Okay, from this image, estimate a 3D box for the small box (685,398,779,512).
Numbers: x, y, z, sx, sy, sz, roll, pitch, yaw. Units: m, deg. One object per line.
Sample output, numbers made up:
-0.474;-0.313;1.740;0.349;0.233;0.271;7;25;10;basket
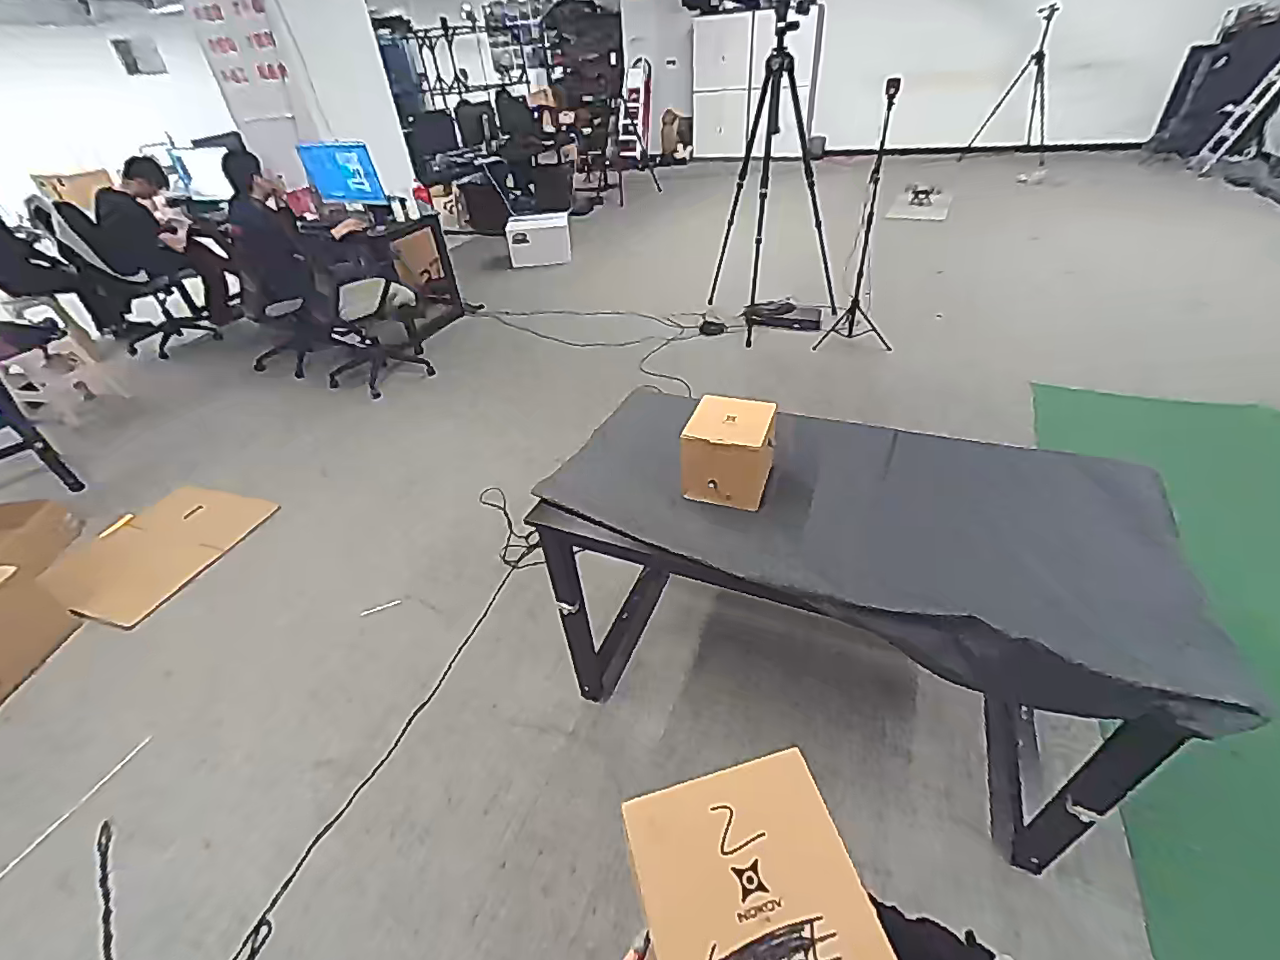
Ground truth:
0.200;-0.057;1.193;0.168;0.176;0.179;11;42;19;small box
